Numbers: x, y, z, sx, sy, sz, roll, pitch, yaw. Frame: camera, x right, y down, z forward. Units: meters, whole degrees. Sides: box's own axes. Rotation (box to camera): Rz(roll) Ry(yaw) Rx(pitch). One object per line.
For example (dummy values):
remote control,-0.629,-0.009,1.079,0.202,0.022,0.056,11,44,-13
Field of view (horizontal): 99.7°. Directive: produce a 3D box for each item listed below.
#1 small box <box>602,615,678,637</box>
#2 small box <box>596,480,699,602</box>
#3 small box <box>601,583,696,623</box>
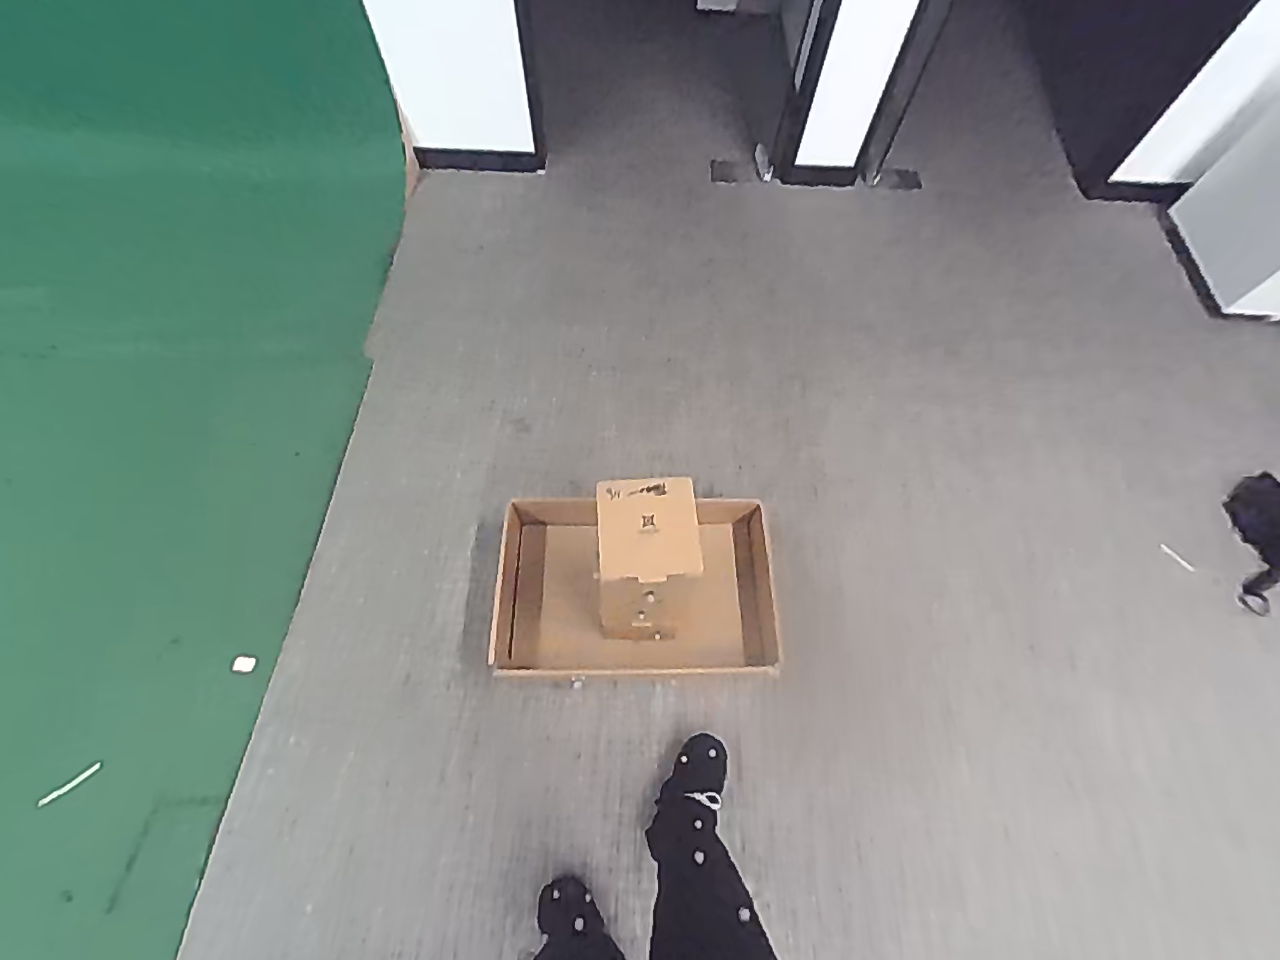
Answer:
small box,0.001,0.262,1.253,0.168,0.176,0.179,1,62,-1
small box,0.009,0.115,0.961,0.168,0.176,0.179,-3,64,-3
small box,0.008,0.191,1.106,0.179,0.176,0.168,-3,64,-5
